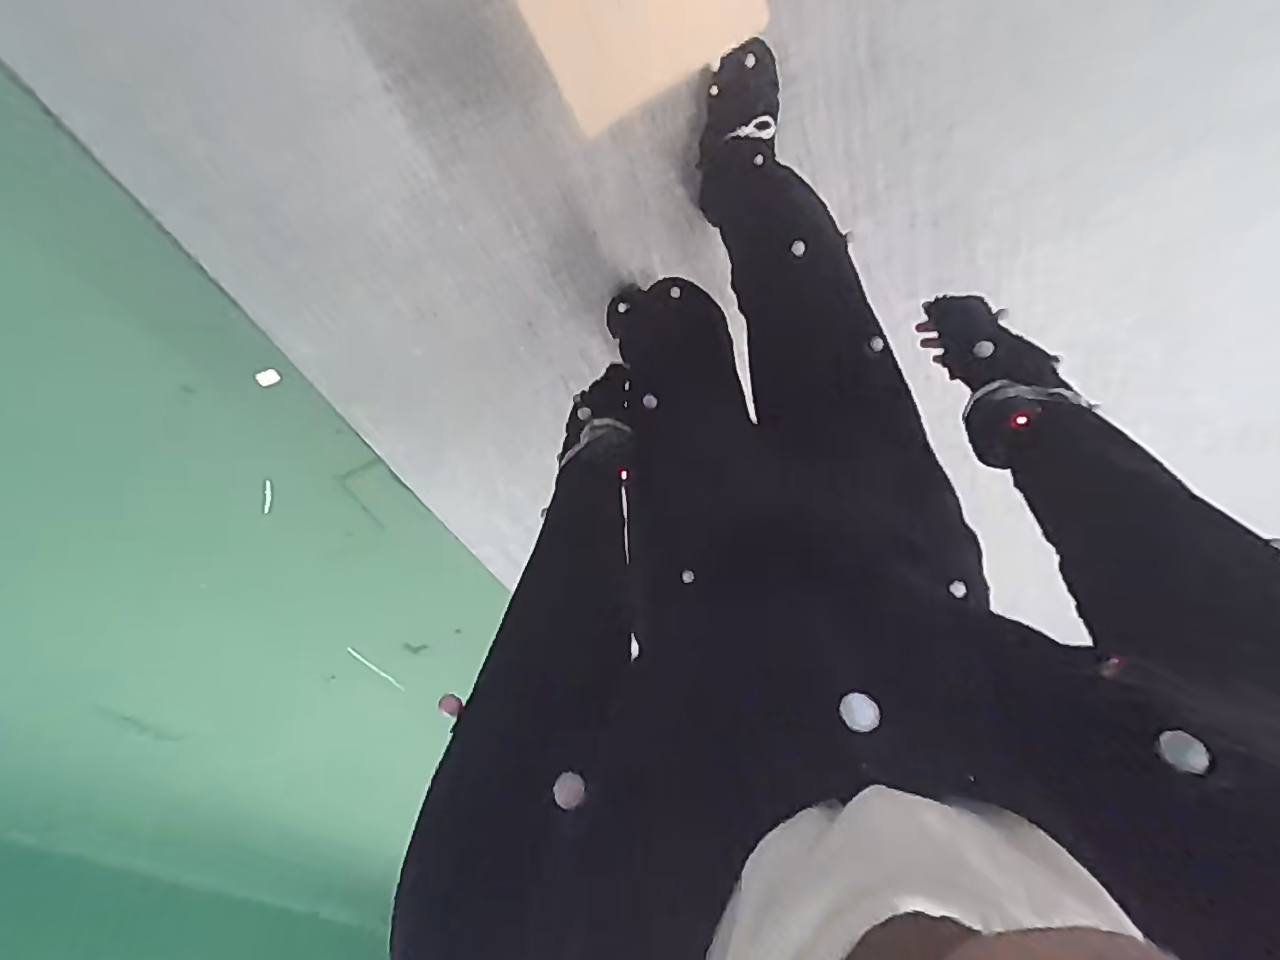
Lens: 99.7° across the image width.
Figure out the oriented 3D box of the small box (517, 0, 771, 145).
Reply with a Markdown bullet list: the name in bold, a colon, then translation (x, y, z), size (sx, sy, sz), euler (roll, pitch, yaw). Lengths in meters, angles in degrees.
- **small box**: translation (-0.009, -0.440, 0.479), size (0.179, 0.176, 0.168), euler (-24, 127, 17)
